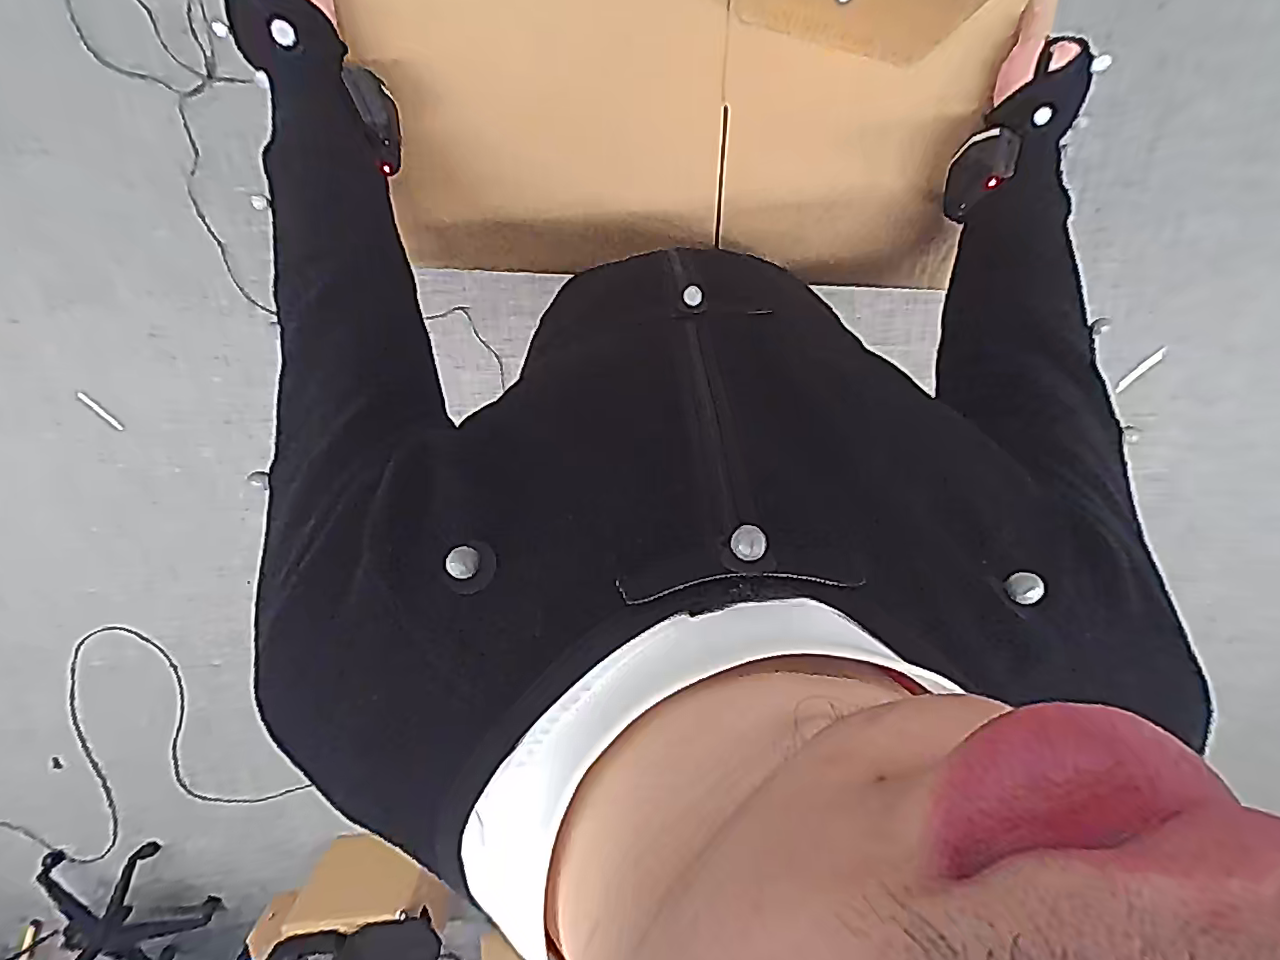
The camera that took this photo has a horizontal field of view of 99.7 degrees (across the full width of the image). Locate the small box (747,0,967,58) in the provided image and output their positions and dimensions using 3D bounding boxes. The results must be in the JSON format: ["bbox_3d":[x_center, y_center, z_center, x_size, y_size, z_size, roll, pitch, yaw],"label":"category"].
[{"bbox_3d":[0.194,-0.464,0.410,0.179,0.176,0.168,13,107,-3],"label":"small box"}]
